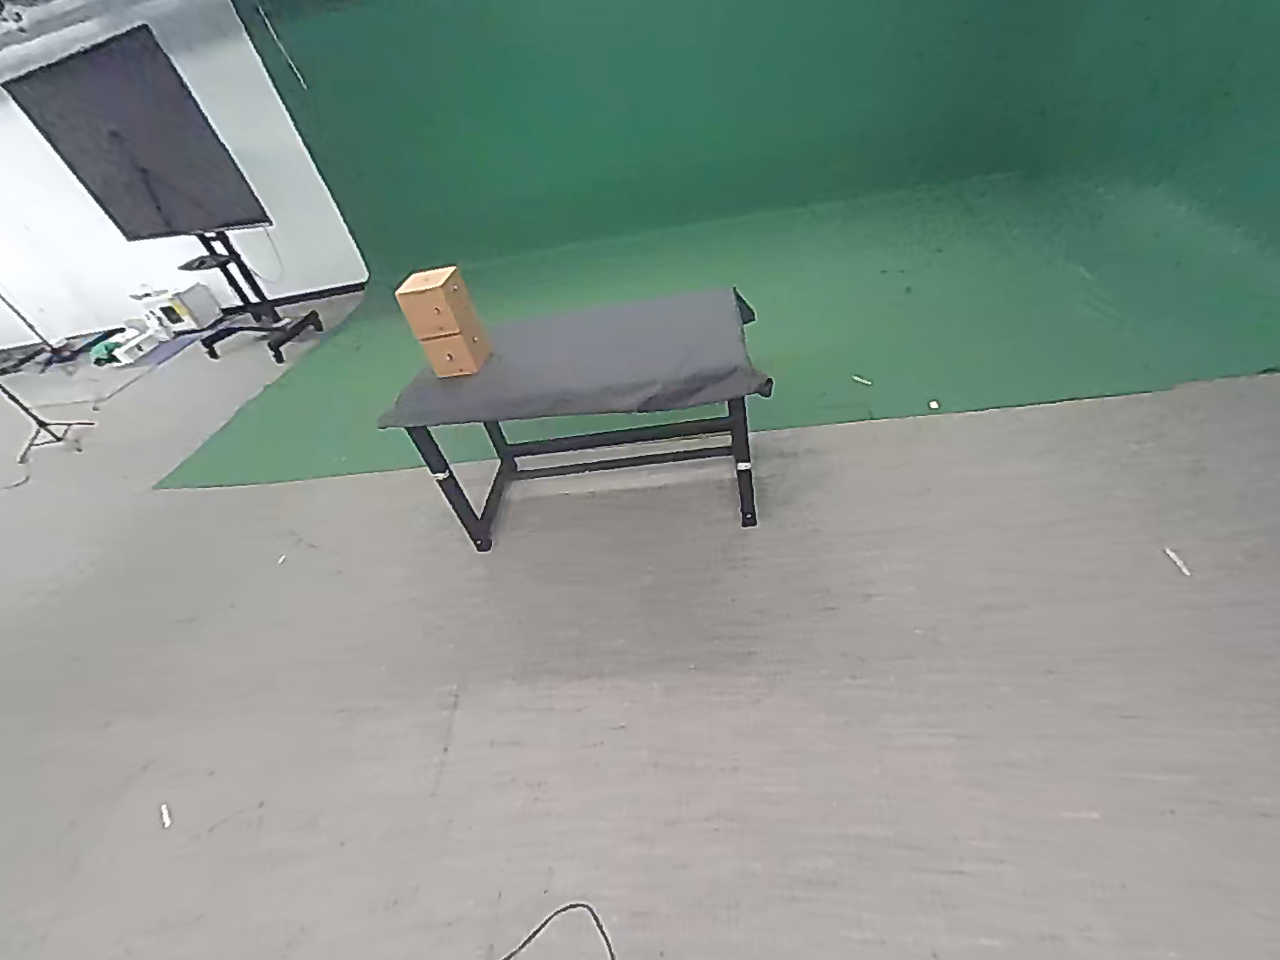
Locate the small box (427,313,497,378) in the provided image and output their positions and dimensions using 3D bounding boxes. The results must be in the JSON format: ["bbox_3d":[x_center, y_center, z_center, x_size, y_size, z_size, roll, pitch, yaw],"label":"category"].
[{"bbox_3d":[-0.648,-0.490,1.995,0.168,0.176,0.179,-4,41,11],"label":"small box"}]

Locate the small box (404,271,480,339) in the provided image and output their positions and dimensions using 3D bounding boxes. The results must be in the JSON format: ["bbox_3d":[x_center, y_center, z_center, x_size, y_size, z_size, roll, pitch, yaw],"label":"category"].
[{"bbox_3d":[-0.679,-0.602,1.880,0.168,0.176,0.179,-5,40,9],"label":"small box"}]
